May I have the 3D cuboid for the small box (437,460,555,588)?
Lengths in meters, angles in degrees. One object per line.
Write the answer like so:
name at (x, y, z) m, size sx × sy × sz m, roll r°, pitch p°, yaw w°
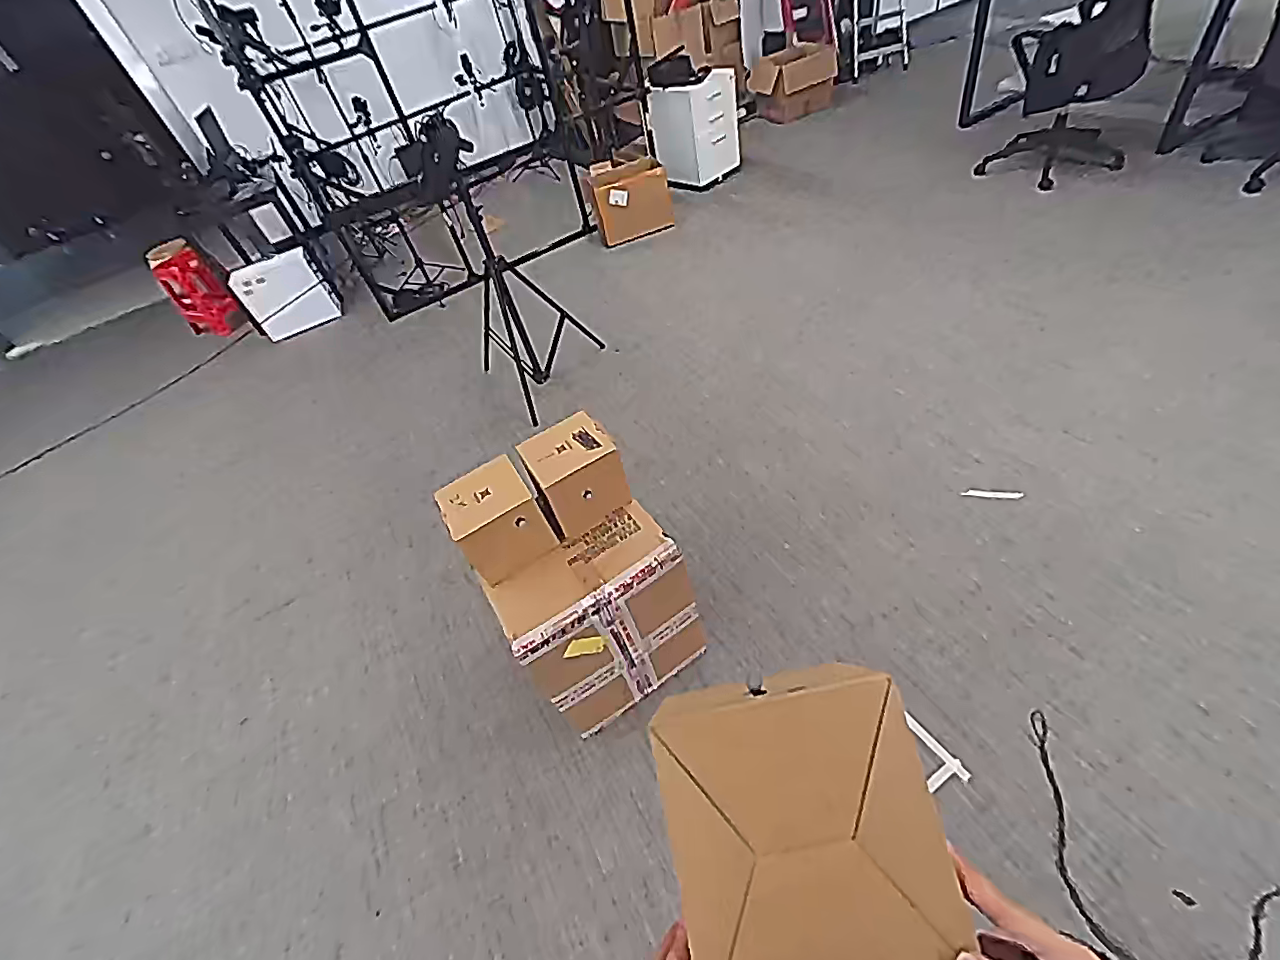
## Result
small box at (-0.301, 0.097, 1.165) m, size 0.179 × 0.176 × 0.168 m, roll -32°, pitch 47°, yaw -11°

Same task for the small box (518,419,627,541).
small box at (-0.143, 0.000, 1.212) m, size 0.179 × 0.176 × 0.168 m, roll -30°, pitch 47°, yaw -14°
